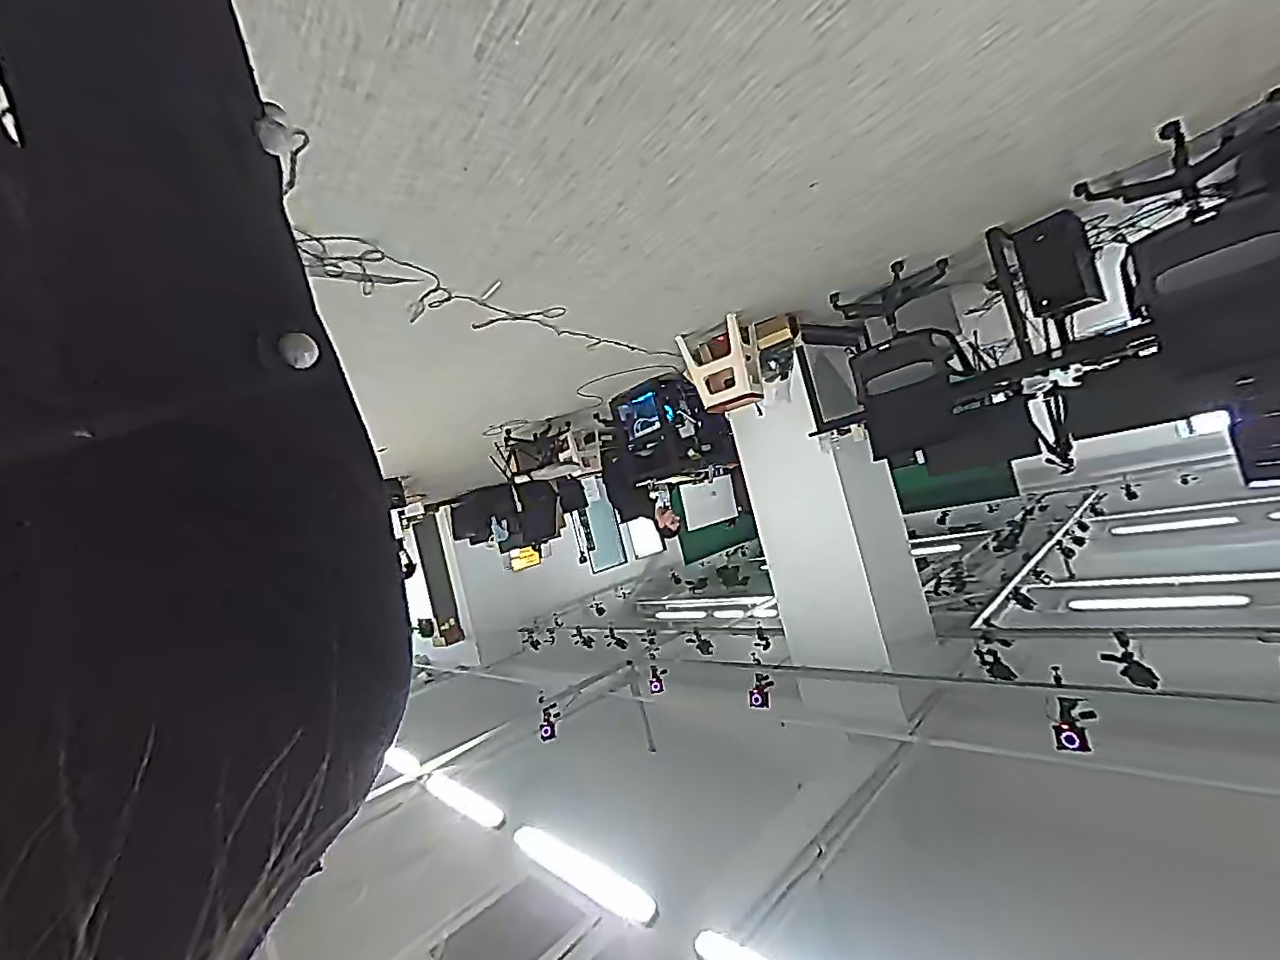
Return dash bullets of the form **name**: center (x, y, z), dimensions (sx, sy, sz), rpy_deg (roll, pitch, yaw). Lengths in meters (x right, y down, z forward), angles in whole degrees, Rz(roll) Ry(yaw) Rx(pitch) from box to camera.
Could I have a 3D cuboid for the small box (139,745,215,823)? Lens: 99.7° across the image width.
- **small box**: center (-1.603, 1.040, 1.878), dimensions (0.179, 0.176, 0.168), rpy_deg (-11, 175, -39)
